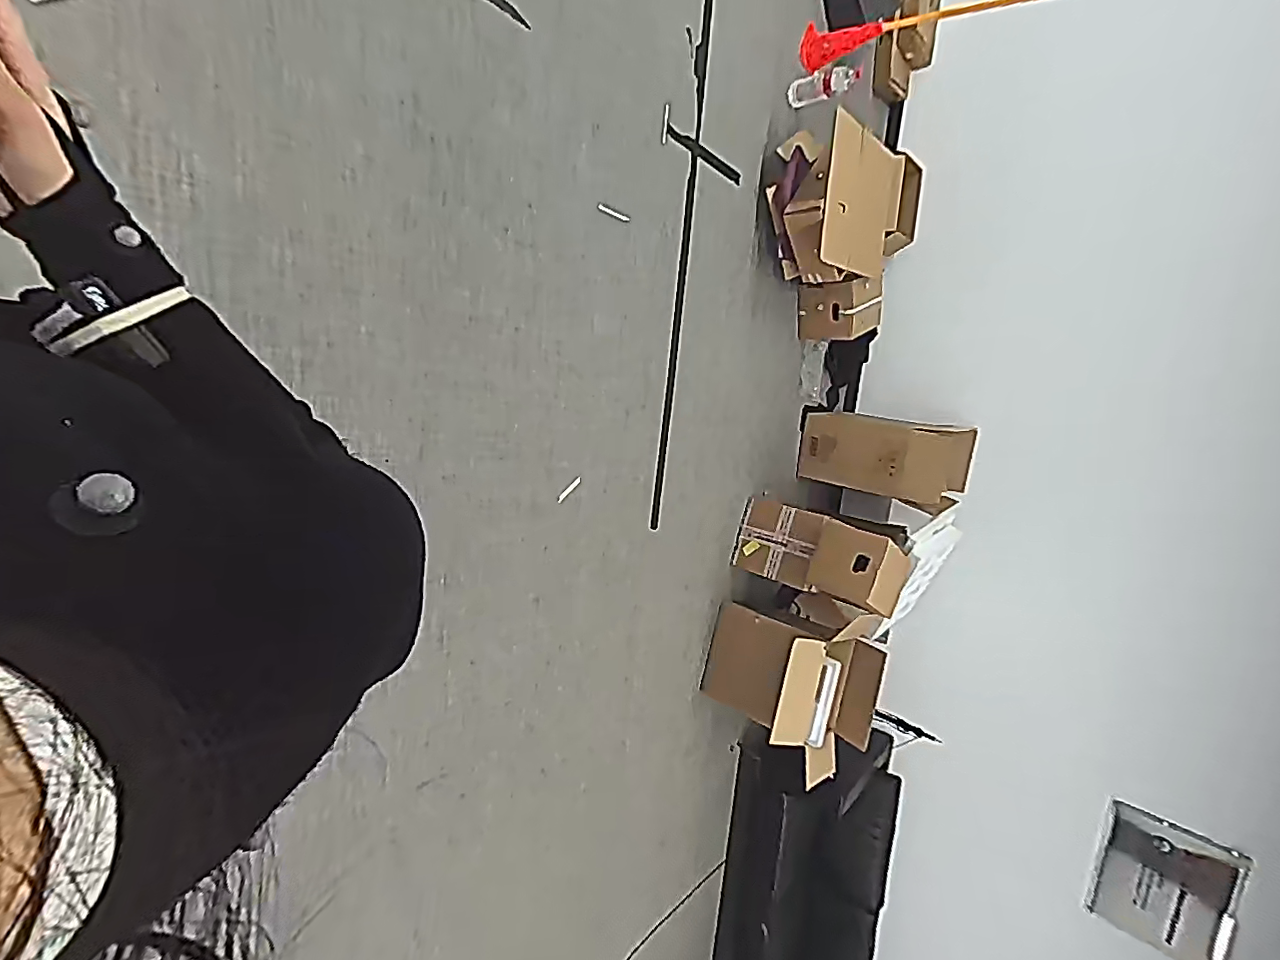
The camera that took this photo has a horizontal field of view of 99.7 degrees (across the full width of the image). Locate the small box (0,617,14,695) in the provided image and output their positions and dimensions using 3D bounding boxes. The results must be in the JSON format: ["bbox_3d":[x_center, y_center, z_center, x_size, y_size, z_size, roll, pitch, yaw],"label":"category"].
[{"bbox_3d":[-1.217,0.350,0.924,0.179,0.176,0.168,-11,108,-48],"label":"small box"}]

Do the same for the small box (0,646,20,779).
[{"bbox_3d":[-1.089,0.374,0.823,0.179,0.176,0.168,-7,104,-48],"label":"small box"}]
